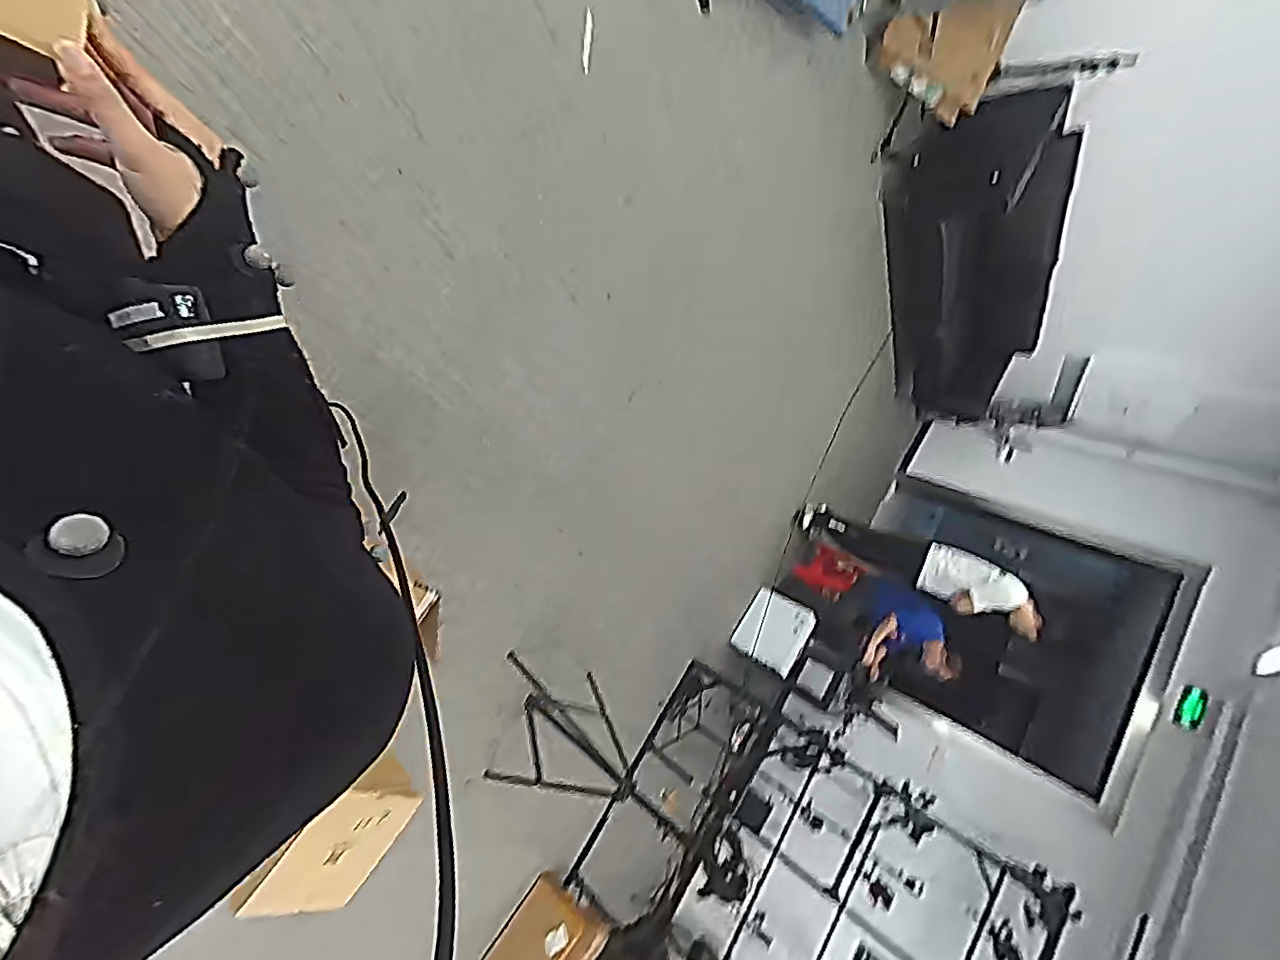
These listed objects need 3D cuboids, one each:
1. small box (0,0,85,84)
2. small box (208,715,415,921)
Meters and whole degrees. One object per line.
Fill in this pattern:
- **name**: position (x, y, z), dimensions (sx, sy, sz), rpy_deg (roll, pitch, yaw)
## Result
- **small box**: position (-0.399, -0.329, 0.260), dimensions (0.179, 0.176, 0.168), rpy_deg (4, 103, -54)
- **small box**: position (-0.471, 0.475, 0.774), dimensions (0.179, 0.176, 0.168), rpy_deg (-53, 141, -14)
